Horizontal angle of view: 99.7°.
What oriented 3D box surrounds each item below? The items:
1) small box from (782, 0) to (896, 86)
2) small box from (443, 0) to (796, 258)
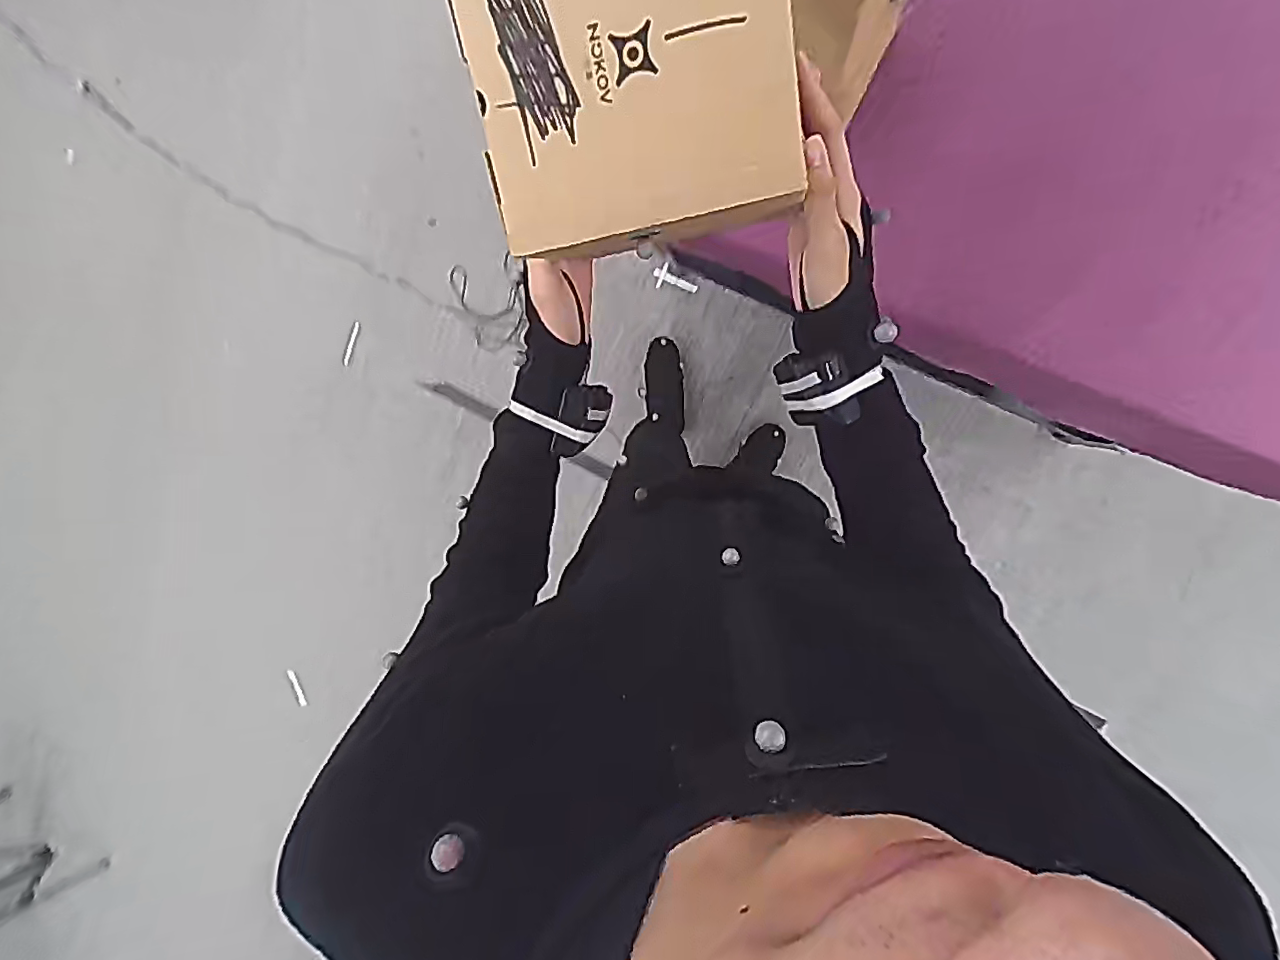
[{"bbox_3d":[0.182,-0.548,0.540,0.179,0.176,0.168,34,104,4],"label":"small box"},{"bbox_3d":[0.005,-0.249,0.356,0.179,0.176,0.168,-7,110,16],"label":"small box"}]
